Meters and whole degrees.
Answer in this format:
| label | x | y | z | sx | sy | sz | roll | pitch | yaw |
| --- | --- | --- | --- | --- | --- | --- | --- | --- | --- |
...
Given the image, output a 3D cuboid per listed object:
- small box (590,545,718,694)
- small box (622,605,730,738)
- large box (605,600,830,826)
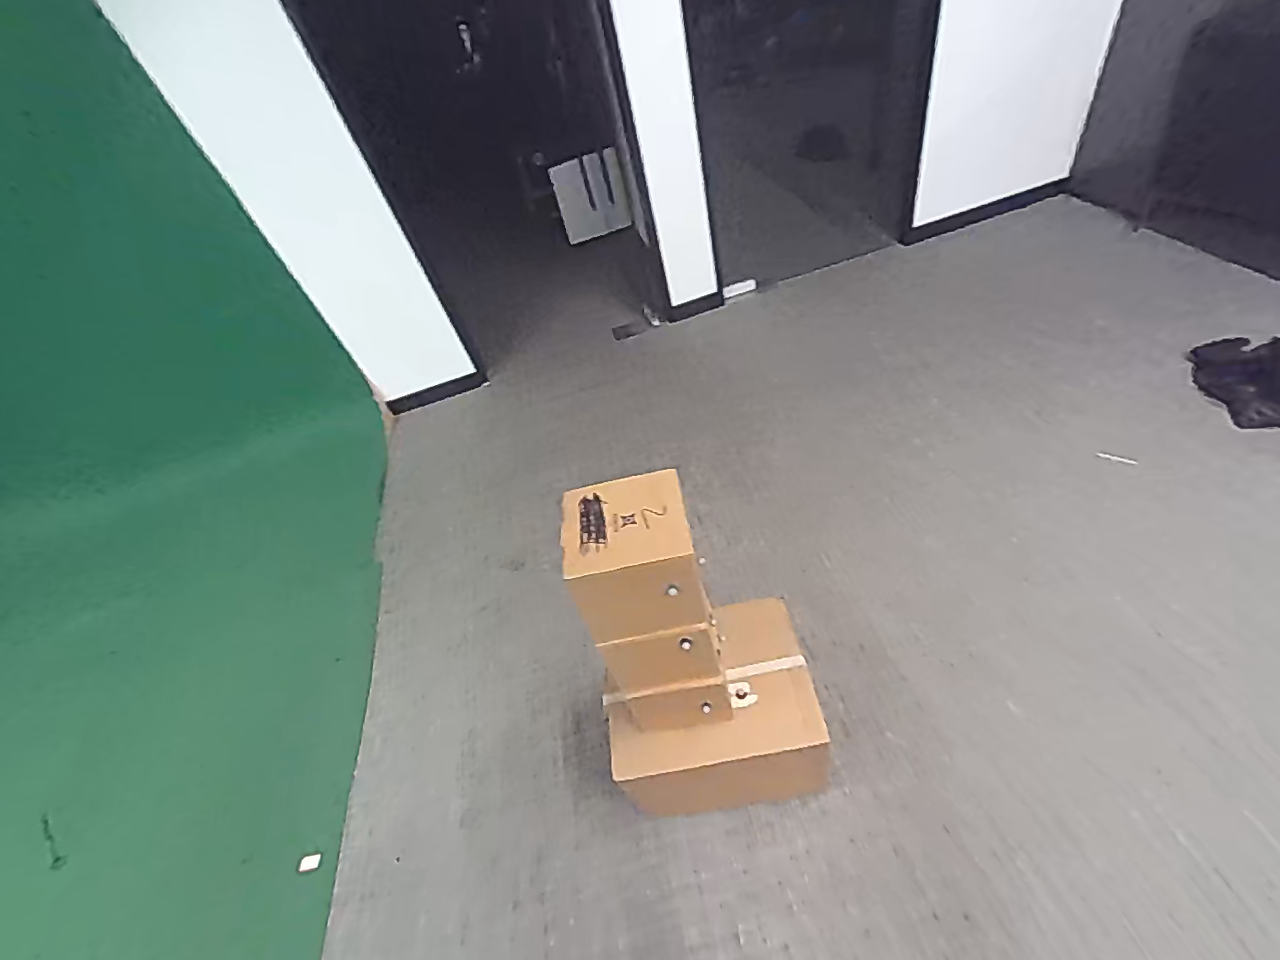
| label | x | y | z | sx | sy | sz | roll | pitch | yaw |
| --- | --- | --- | --- | --- | --- | --- | --- | --- | --- |
| small box | 0.023 | 0.239 | 0.911 | 0.179 | 0.176 | 0.168 | -13 | 43 | 4 |
| small box | 0.066 | 0.360 | 1.012 | 0.179 | 0.176 | 0.168 | -14 | 43 | 6 |
| large box | 0.158 | 0.512 | 1.182 | 0.408 | 0.320 | 0.320 | -13 | 45 | 3 |
